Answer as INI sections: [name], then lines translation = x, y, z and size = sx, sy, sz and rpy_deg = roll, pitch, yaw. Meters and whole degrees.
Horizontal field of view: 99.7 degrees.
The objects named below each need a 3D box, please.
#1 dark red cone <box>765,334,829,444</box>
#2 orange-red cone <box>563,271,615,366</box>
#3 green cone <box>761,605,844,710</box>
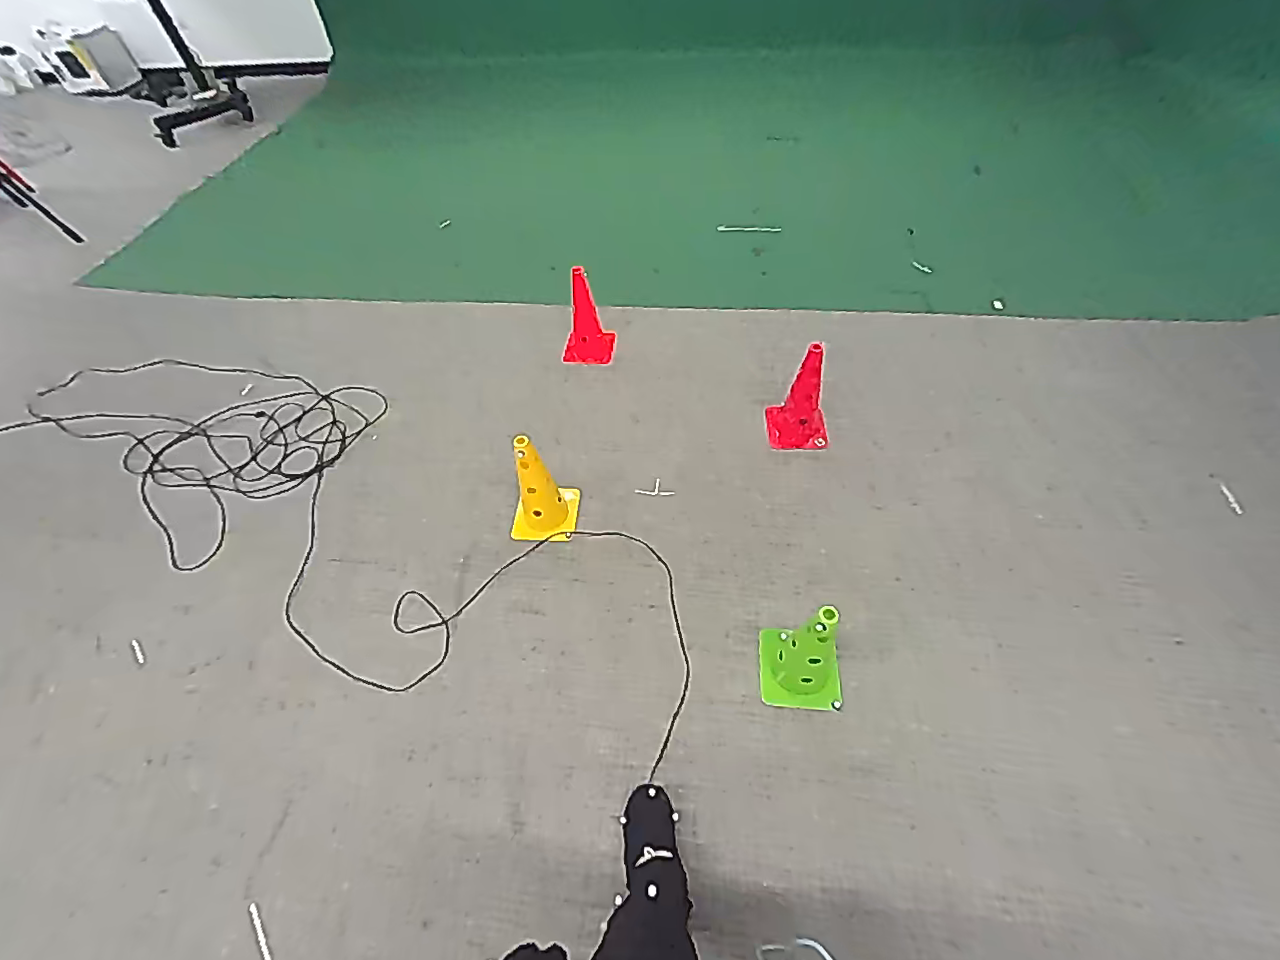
[dark red cone]
translation = 0.532, -0.301, 1.750
size = 0.202, 0.394, 0.201
rpy_deg = -1, 51, 4
[orange-red cone]
translation = -0.222, -0.638, 2.092
size = 0.198, 0.360, 0.199
rpy_deg = 3, 54, 8
[green cone]
translation = 0.404, 0.385, 1.269
size = 0.202, 0.368, 0.200
rpy_deg = 1, 53, 7
